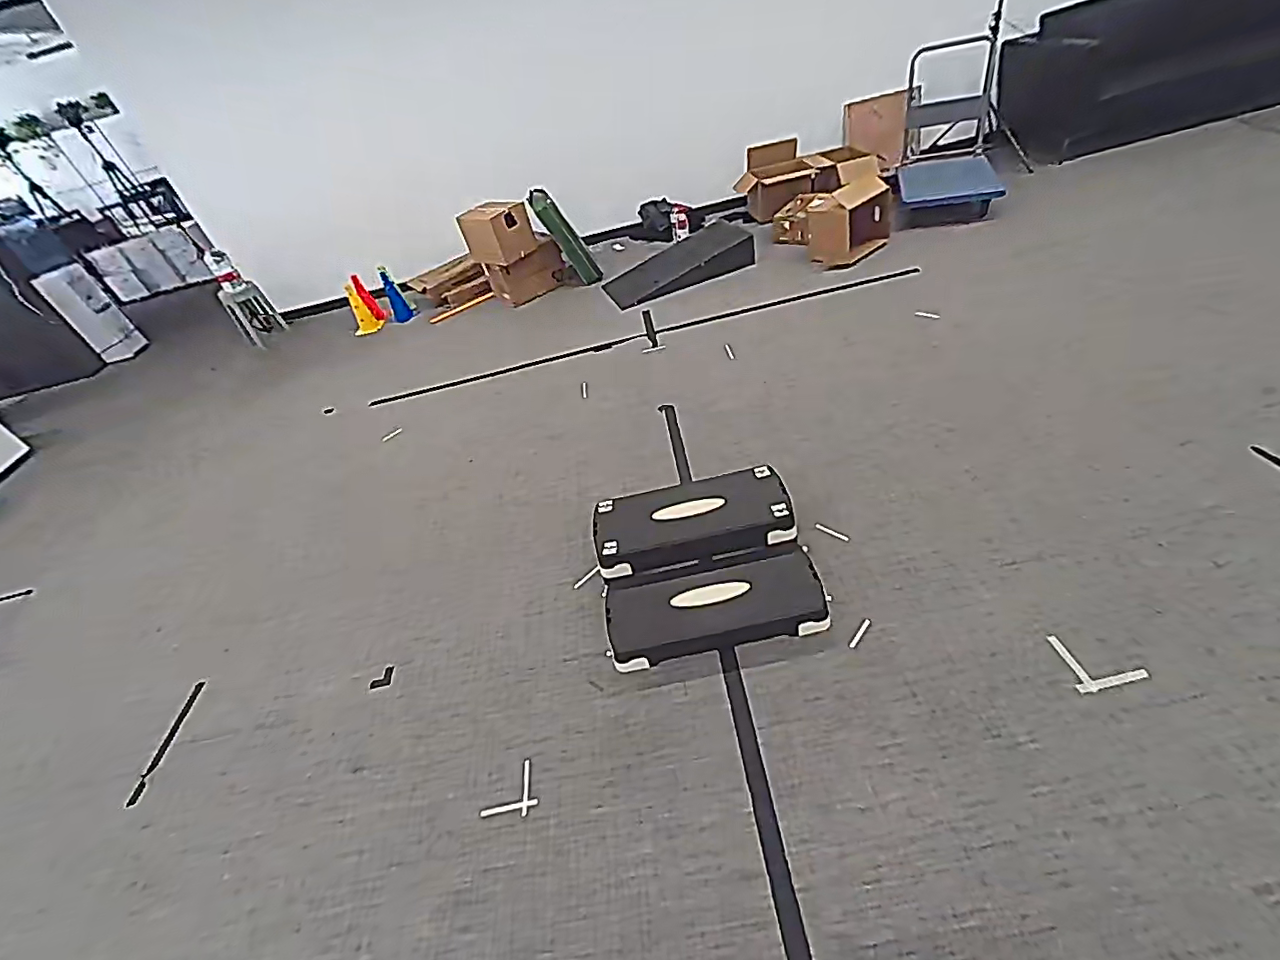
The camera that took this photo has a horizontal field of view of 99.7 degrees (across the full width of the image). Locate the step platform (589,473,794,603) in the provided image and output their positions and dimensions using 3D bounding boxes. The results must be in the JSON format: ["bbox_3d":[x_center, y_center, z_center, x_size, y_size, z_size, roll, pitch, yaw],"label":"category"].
[{"bbox_3d":[0.167,0.190,1.857,0.684,0.204,0.286,-13,41,2],"label":"step platform"}]
